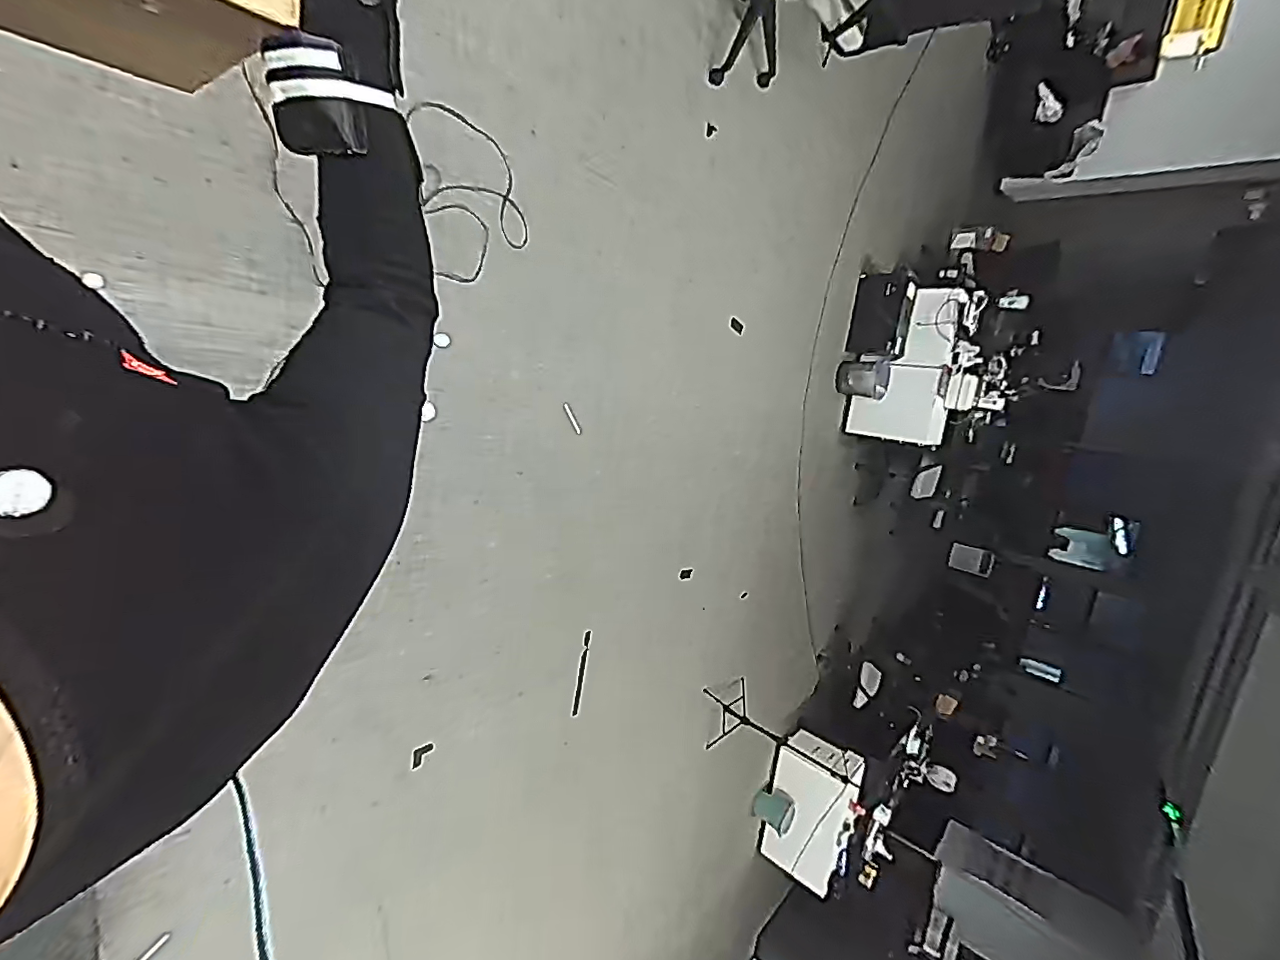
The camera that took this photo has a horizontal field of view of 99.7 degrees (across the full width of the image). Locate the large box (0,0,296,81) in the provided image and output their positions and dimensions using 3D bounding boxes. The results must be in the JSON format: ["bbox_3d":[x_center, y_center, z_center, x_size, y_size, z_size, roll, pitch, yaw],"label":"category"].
[{"bbox_3d":[-0.451,-0.473,0.263,0.408,0.320,0.320,-10,115,-48],"label":"large box"}]
